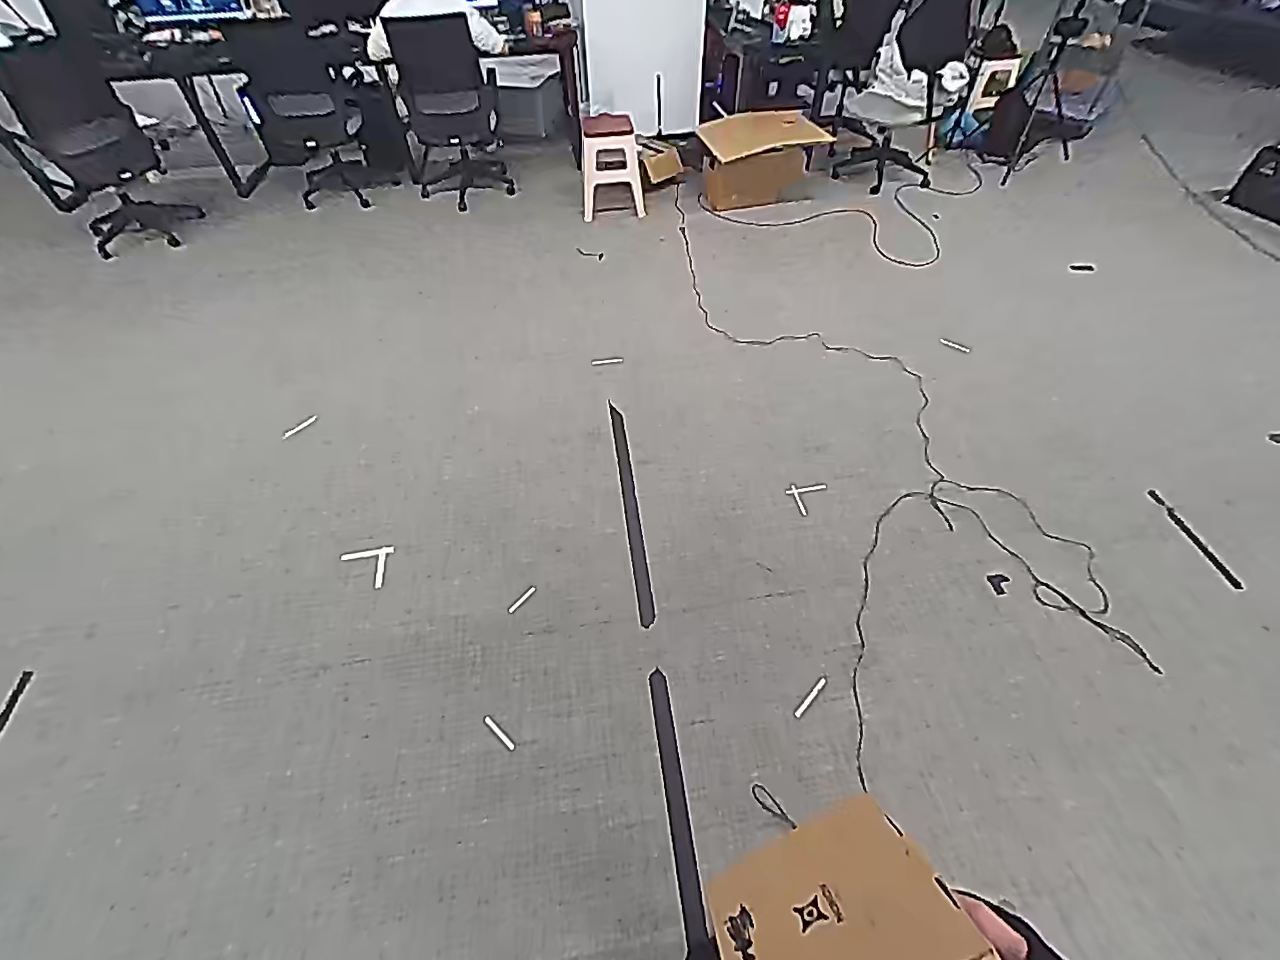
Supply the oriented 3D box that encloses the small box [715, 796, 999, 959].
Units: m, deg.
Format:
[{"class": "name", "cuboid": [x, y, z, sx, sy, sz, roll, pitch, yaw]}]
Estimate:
[{"class": "small box", "cuboid": [0.186, 0.413, 0.435, 0.179, 0.168, 0.176, -28, 92, -2]}]
